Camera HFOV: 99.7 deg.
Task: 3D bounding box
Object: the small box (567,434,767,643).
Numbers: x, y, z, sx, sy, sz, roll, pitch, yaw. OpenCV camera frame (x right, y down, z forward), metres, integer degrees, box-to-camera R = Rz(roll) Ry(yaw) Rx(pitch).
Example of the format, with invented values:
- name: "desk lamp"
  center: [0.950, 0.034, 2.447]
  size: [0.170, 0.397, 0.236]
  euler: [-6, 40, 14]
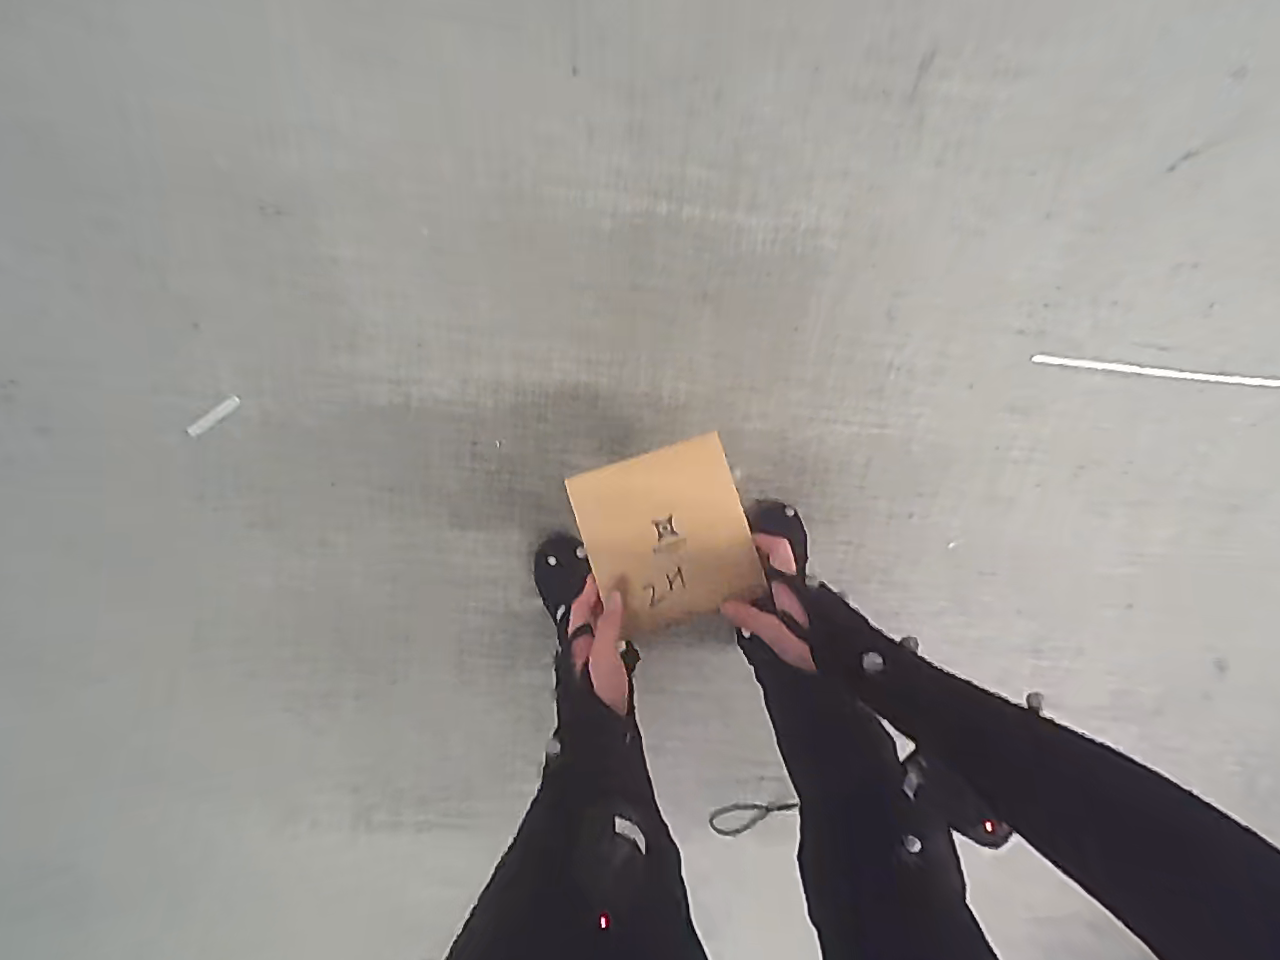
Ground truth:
- name: "small box"
  center: [0.026, 0.063, 0.620]
  size: [0.168, 0.176, 0.179]
  euler: [-17, 87, 0]
